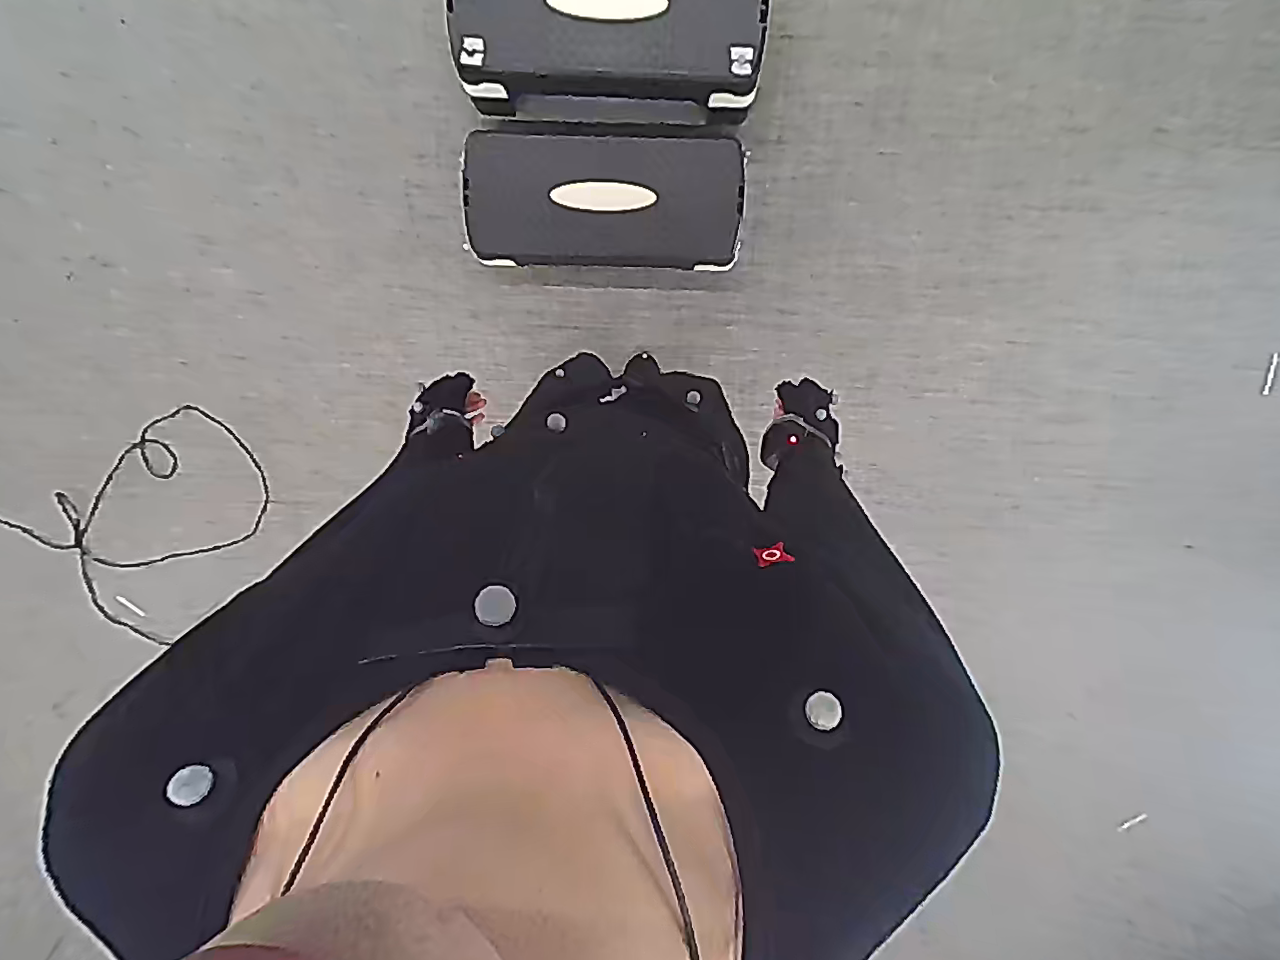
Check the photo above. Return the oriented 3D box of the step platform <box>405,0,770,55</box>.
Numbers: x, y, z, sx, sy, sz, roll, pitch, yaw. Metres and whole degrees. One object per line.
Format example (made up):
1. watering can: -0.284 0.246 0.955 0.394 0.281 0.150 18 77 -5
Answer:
1. step platform: -0.095 -0.973 0.975 0.684 0.204 0.286 2 103 0
